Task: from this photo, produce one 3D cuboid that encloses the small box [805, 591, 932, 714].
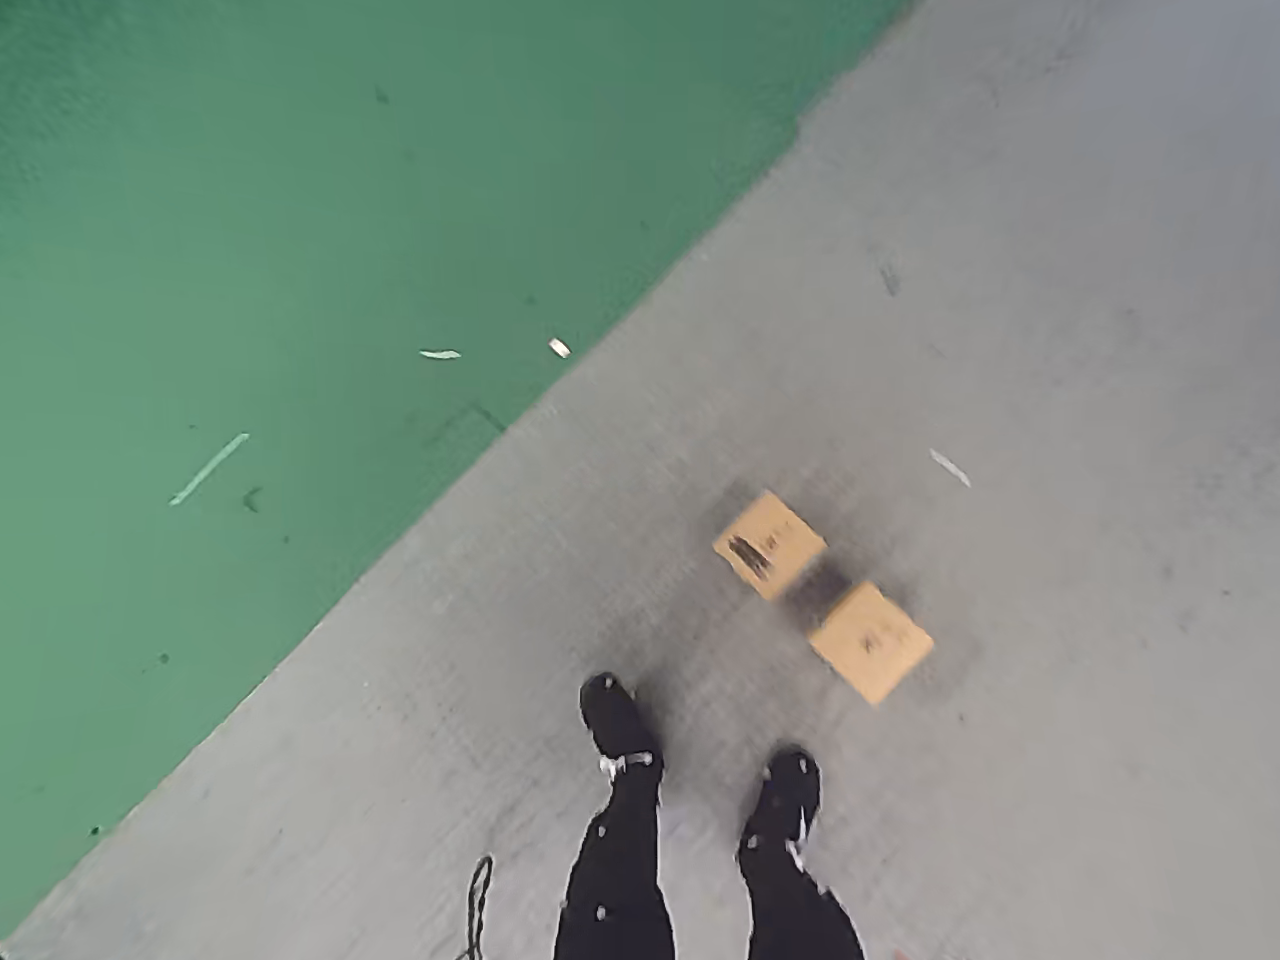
[{"bbox_3d":[0.465,0.356,1.138,0.179,0.176,0.168,-45,73,-2],"label":"small box"}]
